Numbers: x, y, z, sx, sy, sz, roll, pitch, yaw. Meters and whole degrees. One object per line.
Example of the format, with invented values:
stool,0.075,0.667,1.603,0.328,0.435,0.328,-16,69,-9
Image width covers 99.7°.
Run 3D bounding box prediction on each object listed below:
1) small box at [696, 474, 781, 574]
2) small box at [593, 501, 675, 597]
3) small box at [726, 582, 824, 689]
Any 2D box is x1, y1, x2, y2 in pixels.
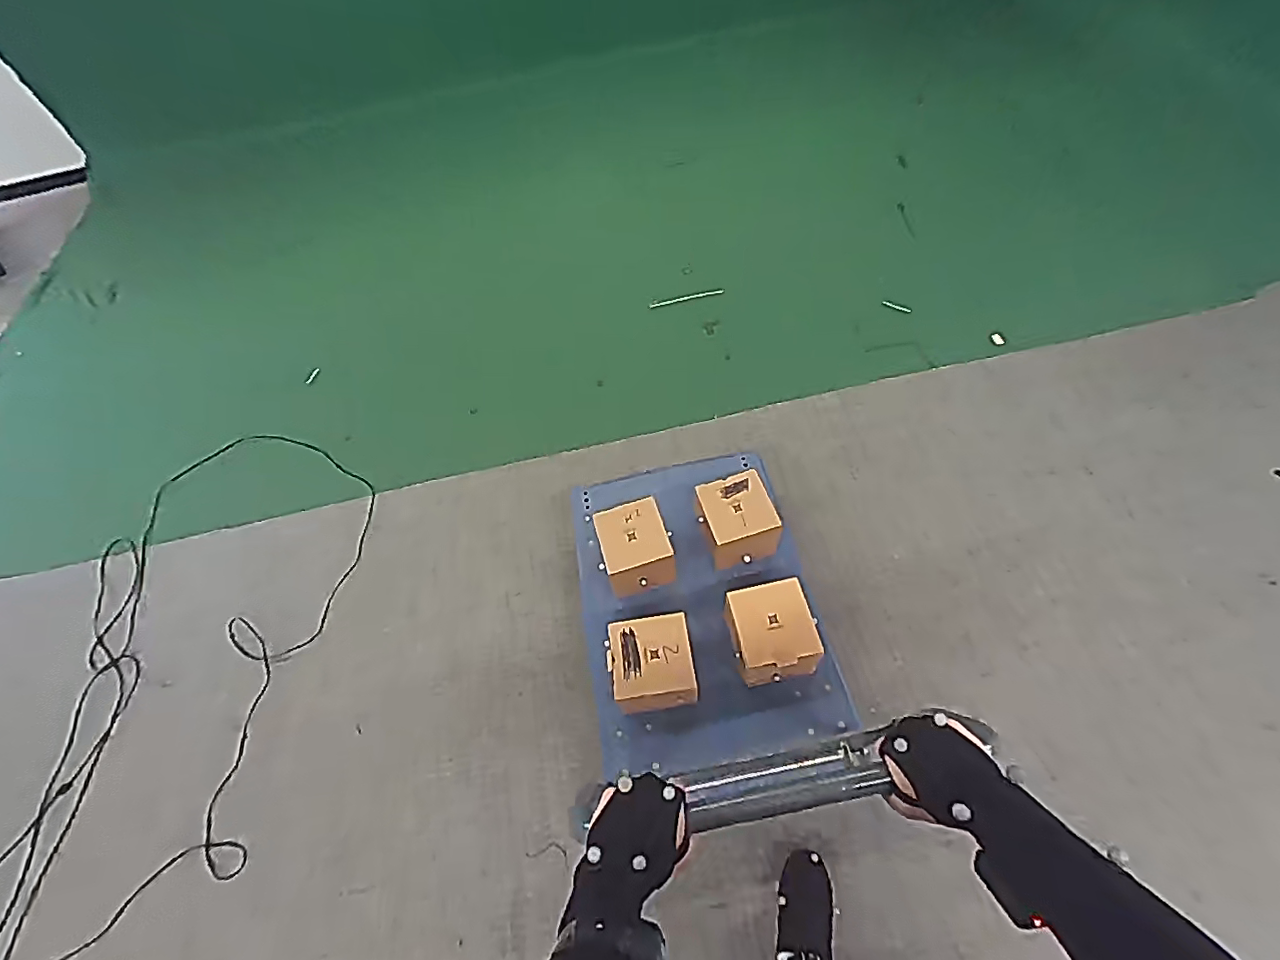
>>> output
small box,0.249,0.117,1.403,0.168,0.176,0.179,-17,57,-3
small box,-0.012,0.185,1.392,0.168,0.176,0.179,-16,57,-4
small box,0.298,0.360,1.240,0.168,0.176,0.179,-12,57,-1
